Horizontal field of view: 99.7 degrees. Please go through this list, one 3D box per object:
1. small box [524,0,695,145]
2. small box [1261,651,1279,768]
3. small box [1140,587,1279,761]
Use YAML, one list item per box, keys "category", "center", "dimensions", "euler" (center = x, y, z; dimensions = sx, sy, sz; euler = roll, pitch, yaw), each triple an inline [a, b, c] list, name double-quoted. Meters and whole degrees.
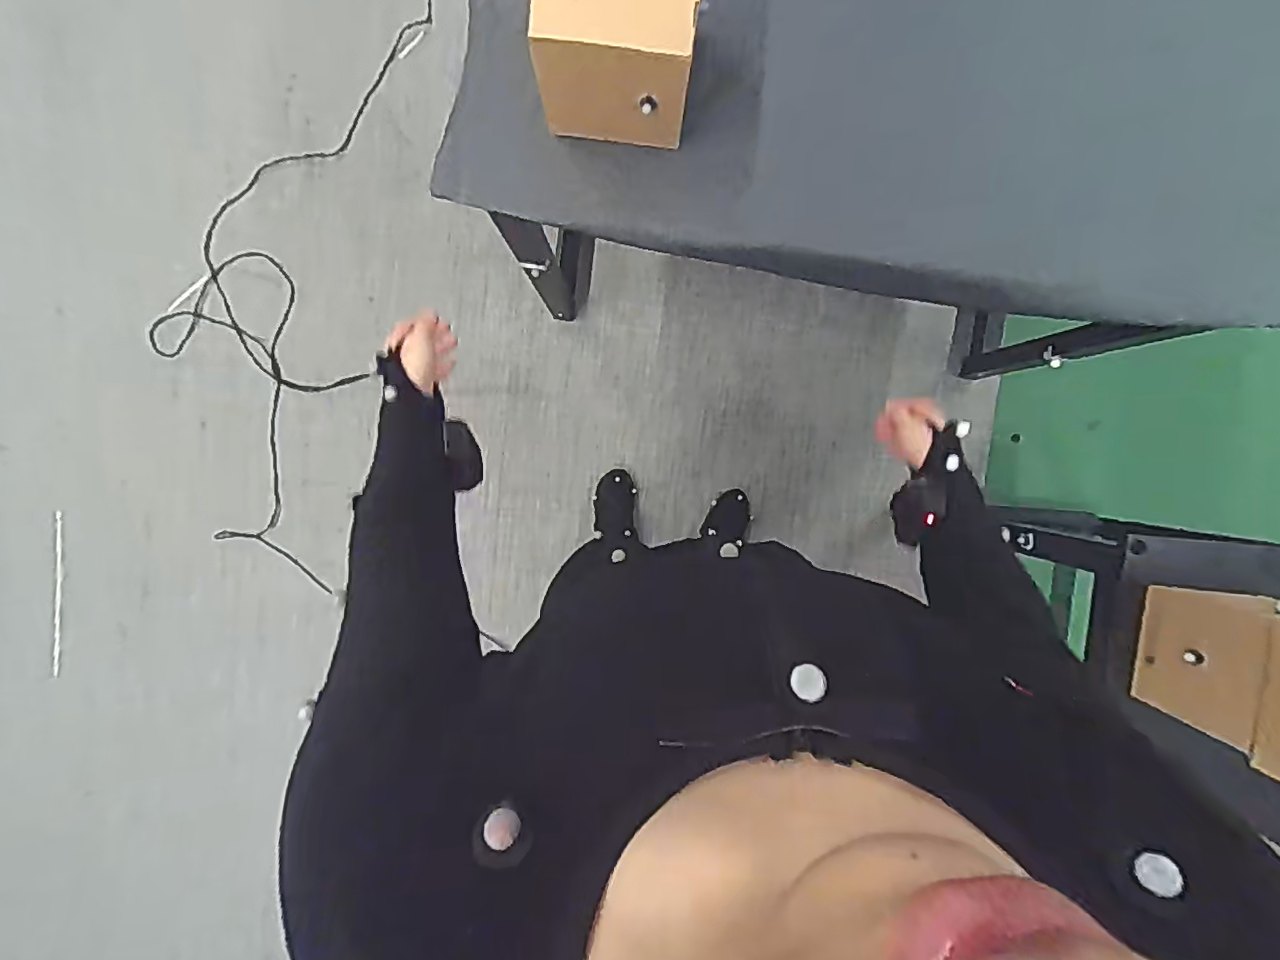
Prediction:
- category: "small box"
  center: [-0.028, -0.531, 0.643]
  dimensions: [0.179, 0.176, 0.168]
  euler: [5, 91, 0]
- category: "small box"
  center: [0.786, 0.257, 0.527]
  dimensions: [0.168, 0.176, 0.179]
  euler: [6, 93, 0]
- category: "small box"
  center: [0.802, 0.242, 0.689]
  dimensions: [0.179, 0.176, 0.168]
  euler: [6, 95, -1]
